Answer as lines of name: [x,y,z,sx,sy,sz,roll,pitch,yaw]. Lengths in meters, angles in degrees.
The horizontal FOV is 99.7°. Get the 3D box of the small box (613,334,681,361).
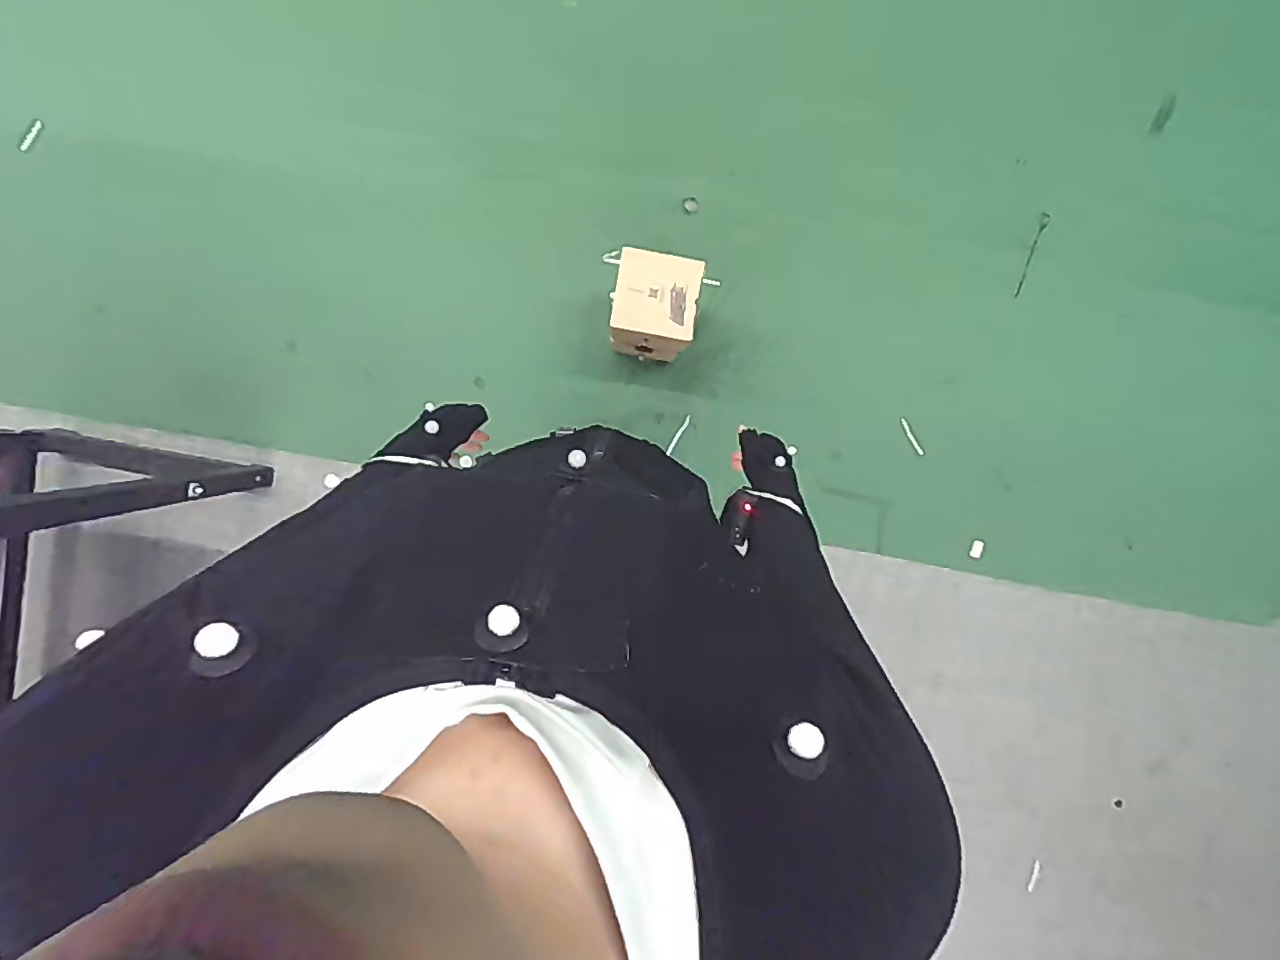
small box: [0.030,-0.407,1.351,0.168,0.176,0.179,11,96,-2]

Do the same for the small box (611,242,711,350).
small box: [0.040,-0.392,1.185,0.179,0.176,0.168,13,94,-3]
